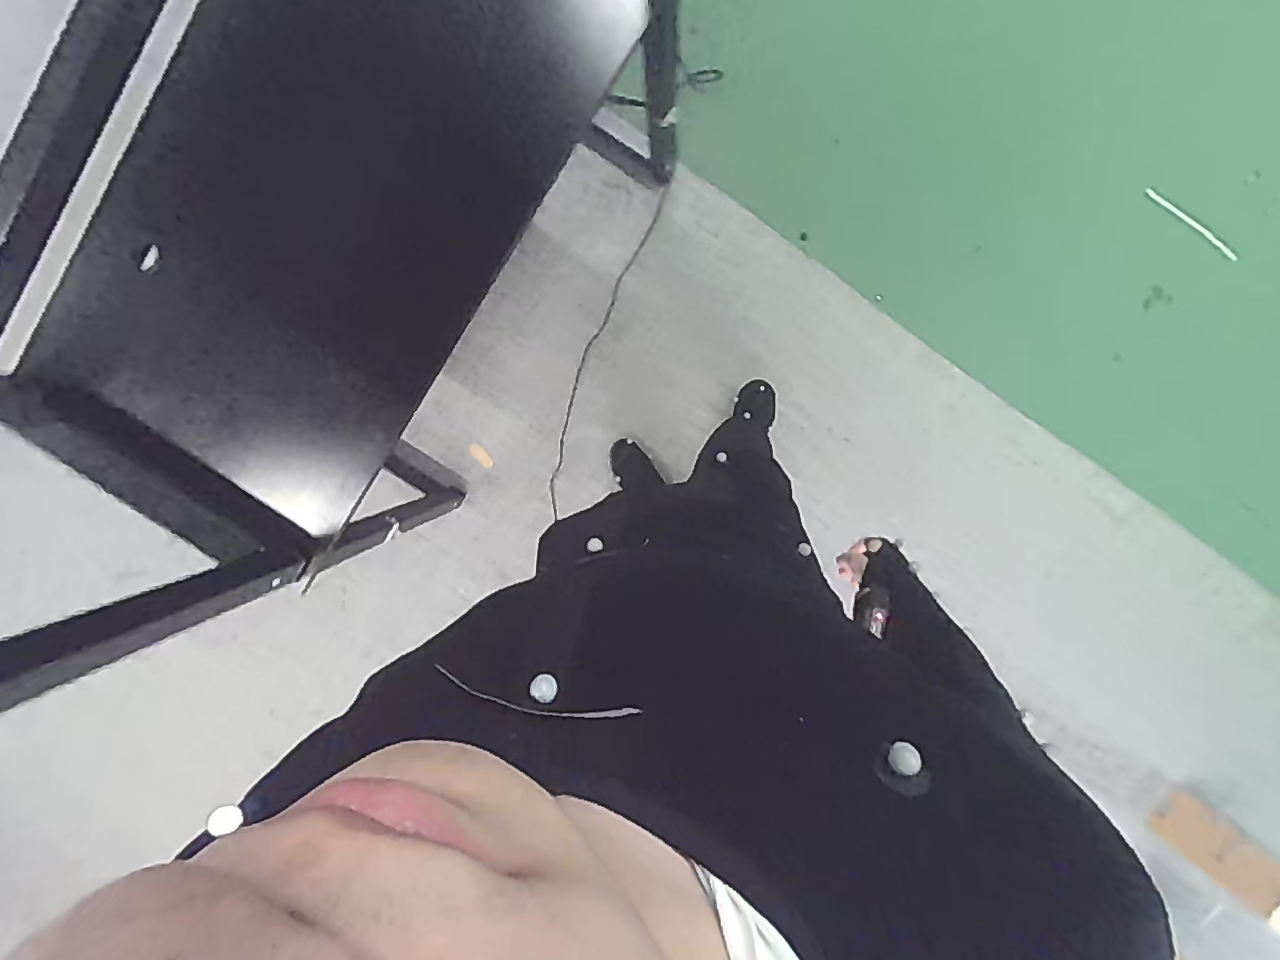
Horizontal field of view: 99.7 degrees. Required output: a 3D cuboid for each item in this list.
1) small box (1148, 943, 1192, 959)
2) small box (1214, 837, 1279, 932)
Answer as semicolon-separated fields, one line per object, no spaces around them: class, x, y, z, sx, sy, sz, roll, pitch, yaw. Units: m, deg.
small box;1.492;1.423;1.457;0.168;0.176;0.179;41;96;-2
small box;1.685;1.080;1.407;0.179;0.176;0.168;32;97;-2
